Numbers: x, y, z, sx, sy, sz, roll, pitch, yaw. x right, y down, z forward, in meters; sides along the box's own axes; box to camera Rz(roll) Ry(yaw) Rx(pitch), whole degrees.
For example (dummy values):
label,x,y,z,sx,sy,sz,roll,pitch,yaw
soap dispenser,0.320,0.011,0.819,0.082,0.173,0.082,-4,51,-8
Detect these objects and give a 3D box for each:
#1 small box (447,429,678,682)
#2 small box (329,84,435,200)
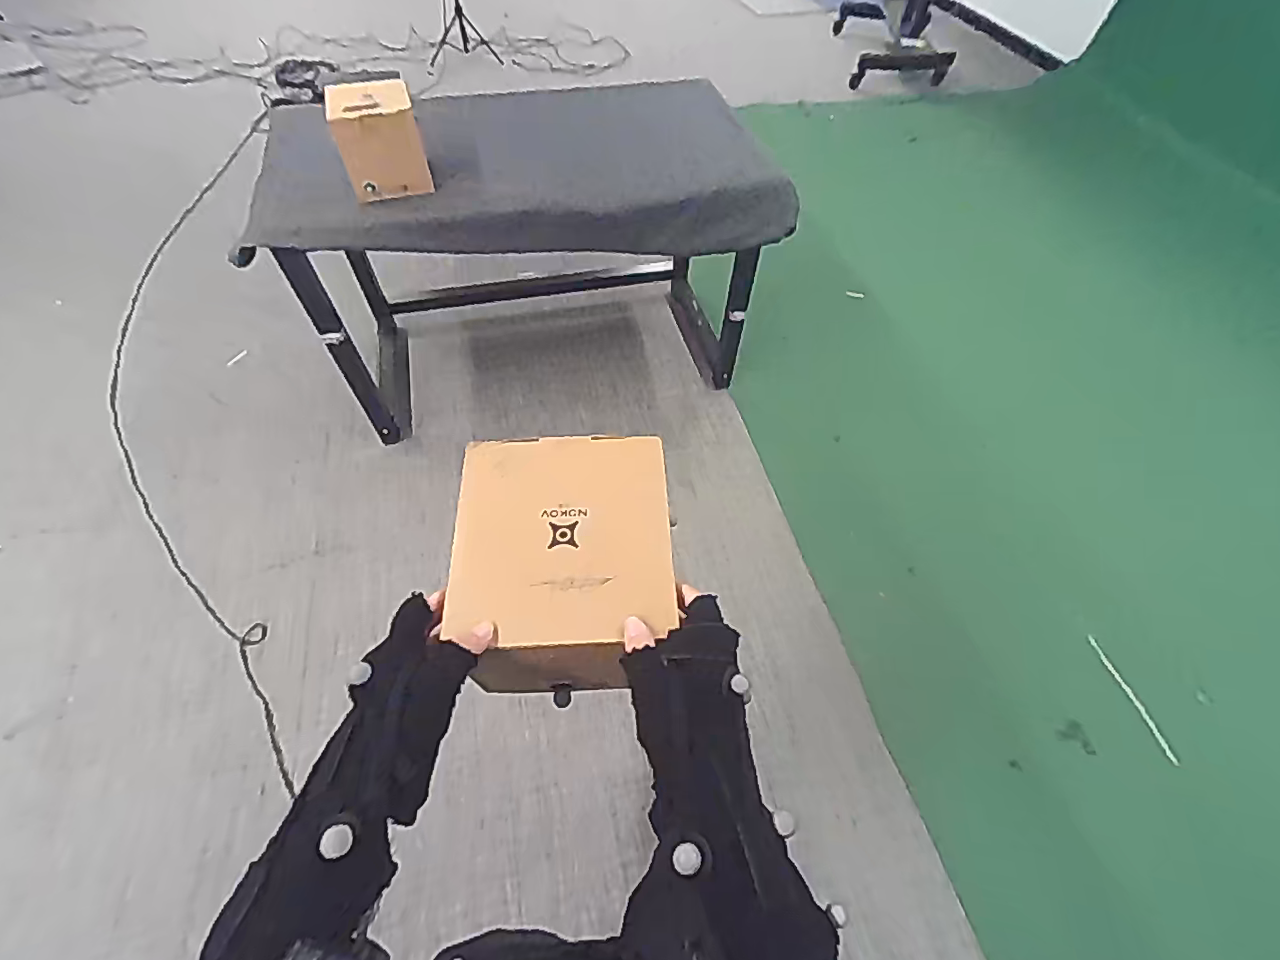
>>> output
label,x,y,z,sx,sy,sz,roll,pitch,yaw
small box,-0.060,0.073,0.491,0.168,0.176,0.179,-2,59,-3
small box,-0.563,-0.738,1.192,0.168,0.176,0.179,-15,55,-13
